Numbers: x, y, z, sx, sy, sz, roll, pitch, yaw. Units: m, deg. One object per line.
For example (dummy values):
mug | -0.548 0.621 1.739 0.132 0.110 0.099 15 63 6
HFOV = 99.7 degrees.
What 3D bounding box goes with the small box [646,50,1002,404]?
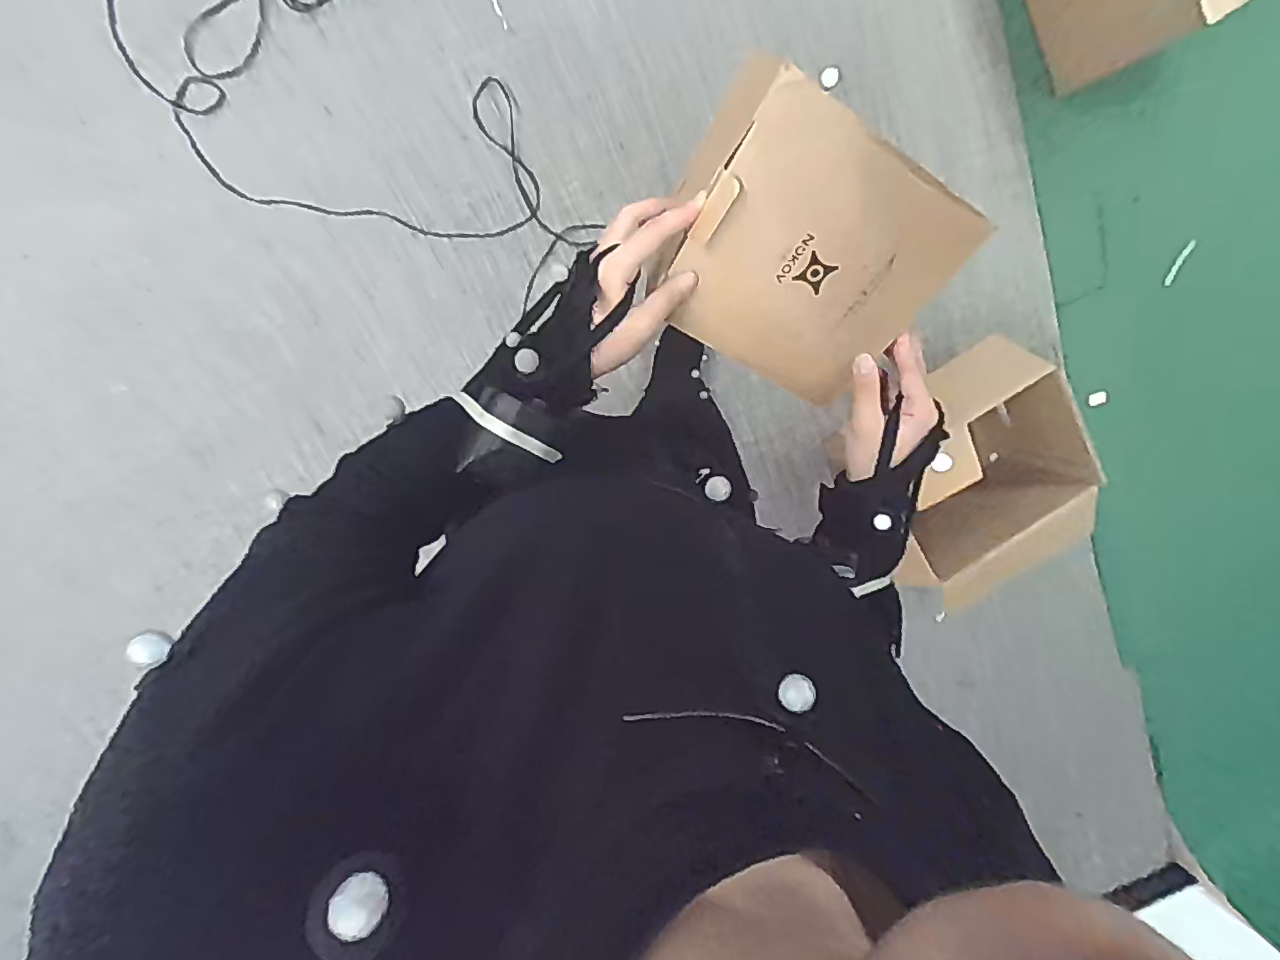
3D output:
small box | 0.120 -0.197 0.424 0.179 0.176 0.168 23 128 -16
